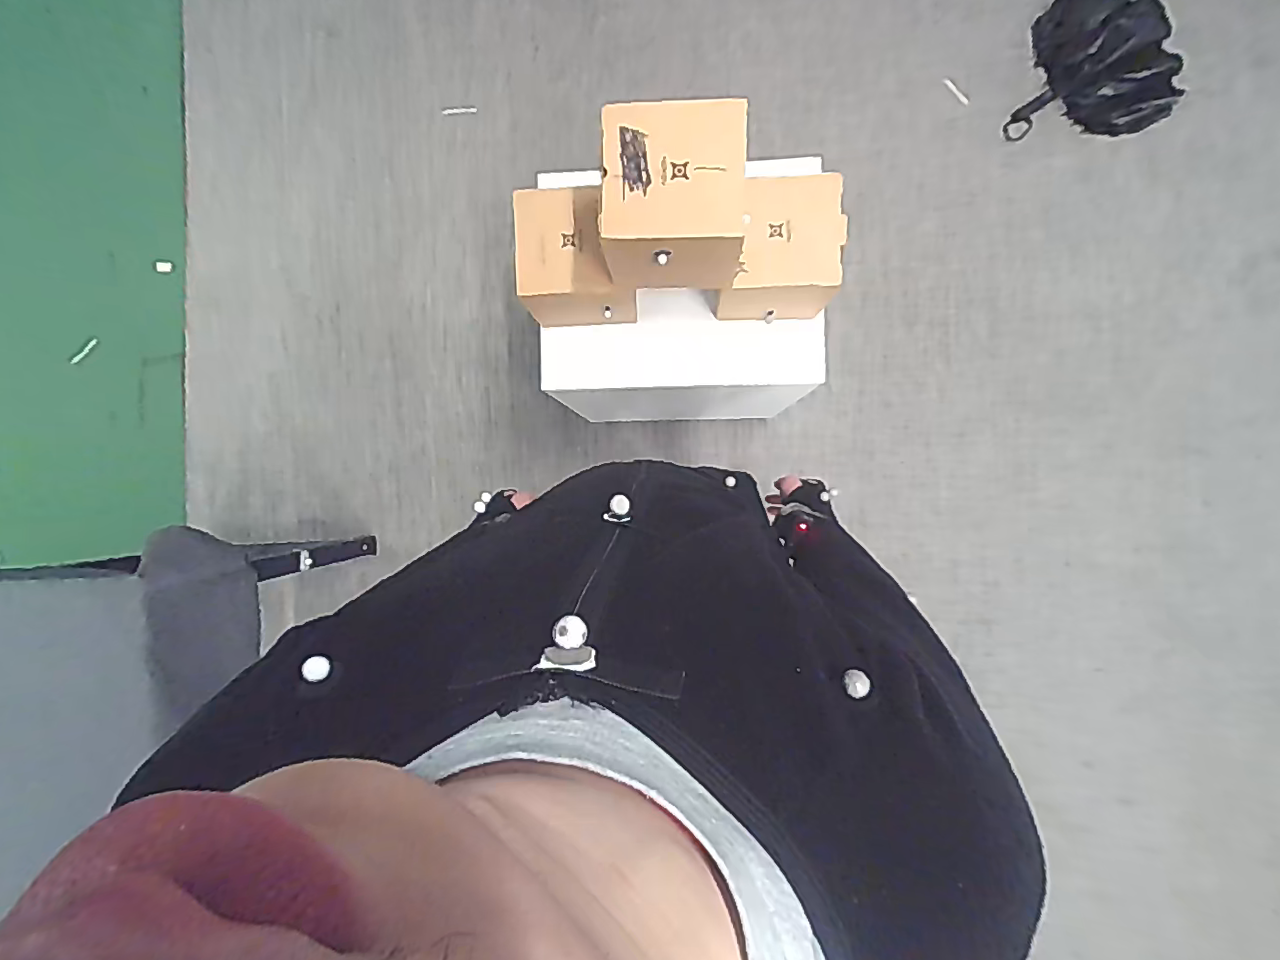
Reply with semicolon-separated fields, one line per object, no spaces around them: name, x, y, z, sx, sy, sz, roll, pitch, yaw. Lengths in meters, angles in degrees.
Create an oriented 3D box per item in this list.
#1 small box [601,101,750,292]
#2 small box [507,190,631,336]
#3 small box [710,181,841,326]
small box;0.045;-0.356;0.708;0.179;0.176;0.168;0;89;2
small box;-0.105;-0.342;0.877;0.179;0.176;0.168;-4;87;2
small box;0.208;-0.352;0.867;0.179;0.176;0.168;-1;89;3
